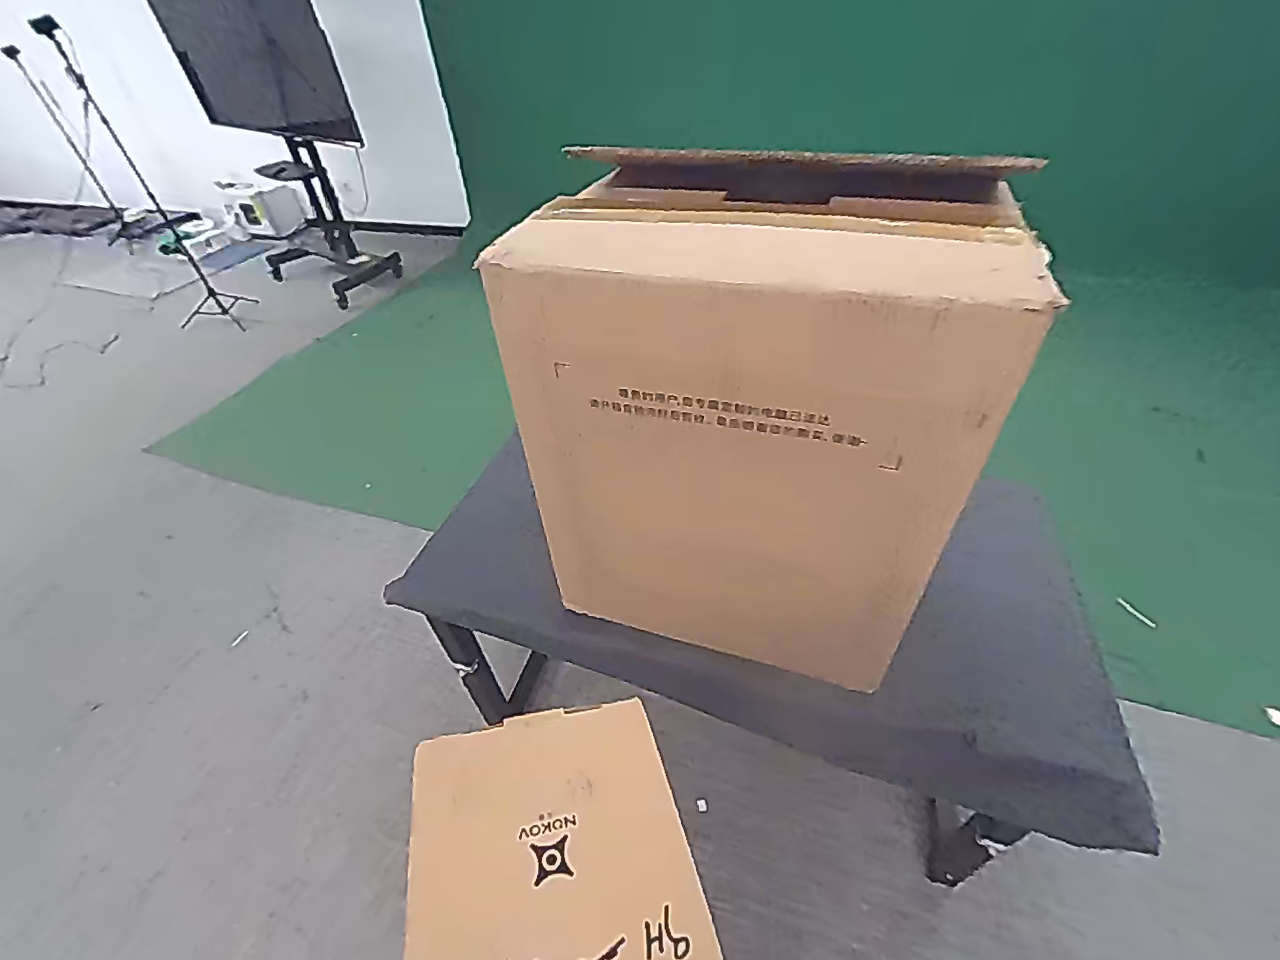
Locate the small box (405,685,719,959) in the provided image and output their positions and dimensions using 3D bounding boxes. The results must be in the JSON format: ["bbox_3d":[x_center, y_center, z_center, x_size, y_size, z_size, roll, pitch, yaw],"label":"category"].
[{"bbox_3d":[-0.062,0.283,0.383,0.168,0.176,0.179,-7,35,-15],"label":"small box"}]
